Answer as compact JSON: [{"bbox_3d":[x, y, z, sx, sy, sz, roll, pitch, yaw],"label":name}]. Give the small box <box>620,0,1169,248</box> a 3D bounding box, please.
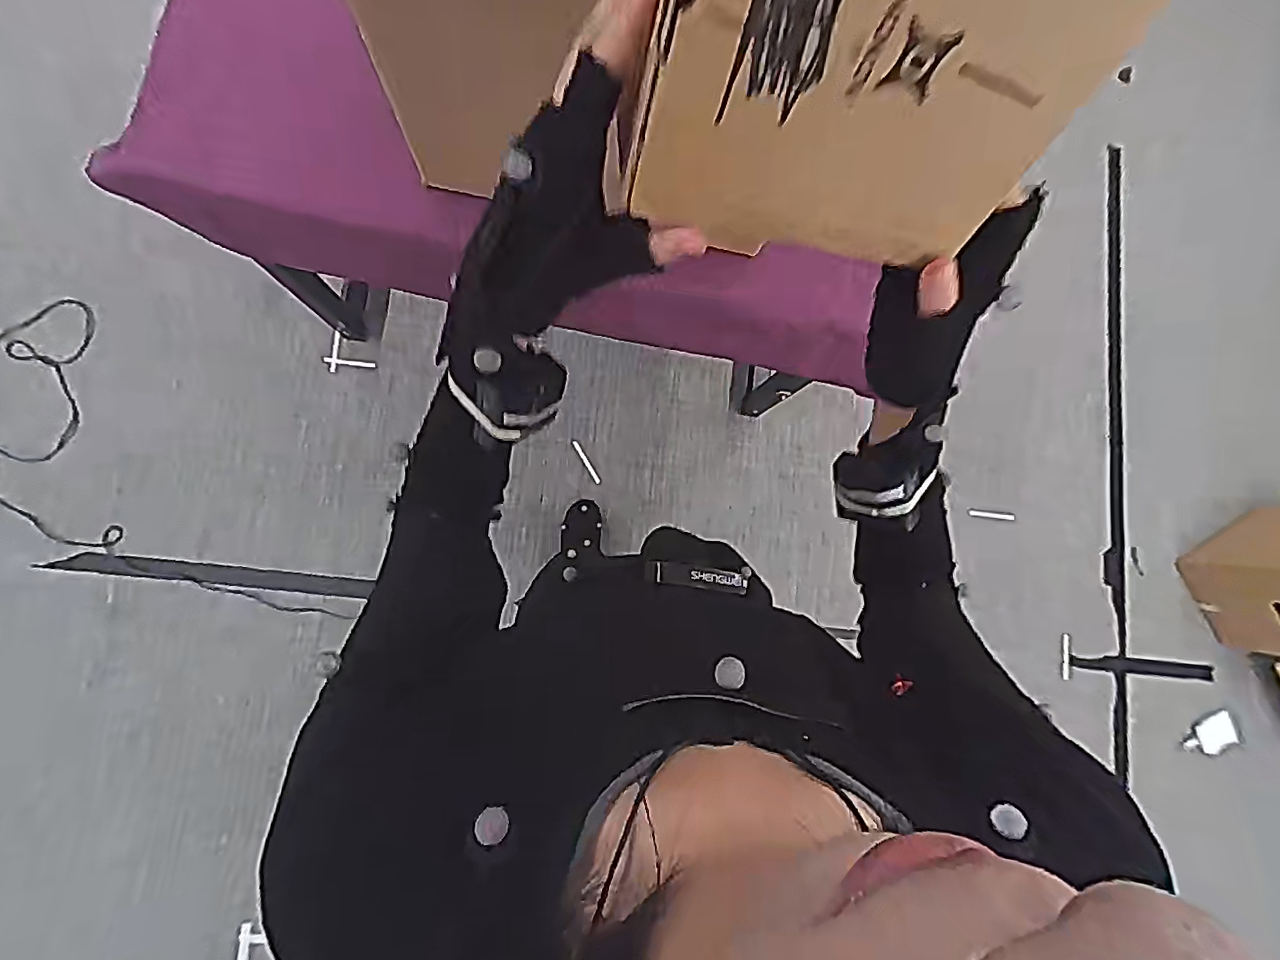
[{"bbox_3d":[0.092,-0.234,0.226,0.179,0.168,0.176,4,60,-15],"label":"small box"}]
